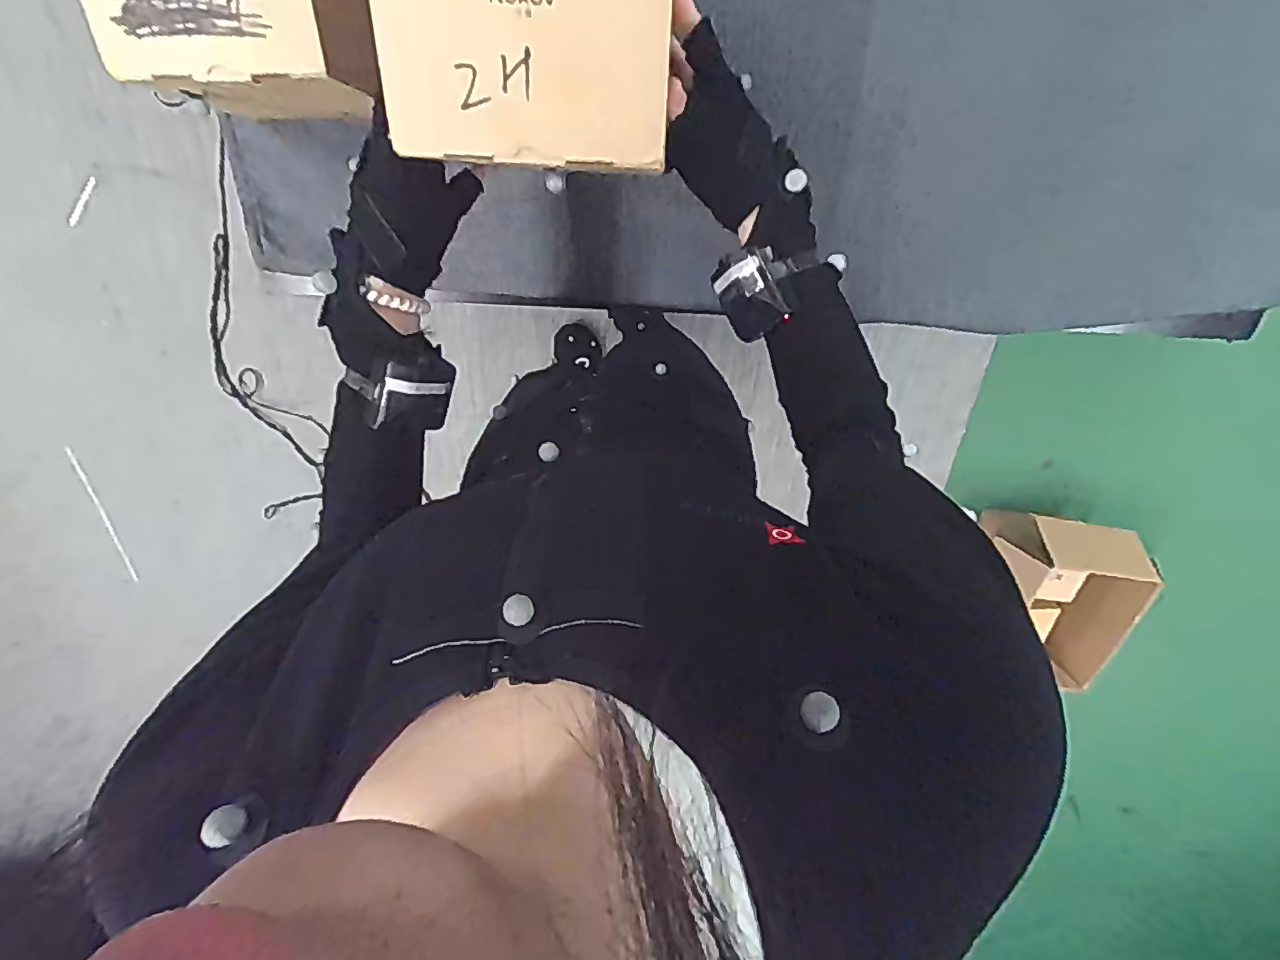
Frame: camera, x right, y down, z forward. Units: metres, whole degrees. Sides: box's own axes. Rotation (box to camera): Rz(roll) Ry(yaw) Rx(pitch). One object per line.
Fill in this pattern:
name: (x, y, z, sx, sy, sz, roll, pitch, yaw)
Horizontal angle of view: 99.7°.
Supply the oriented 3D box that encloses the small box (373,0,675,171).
small box: (-0.062, -0.312, 0.356, 0.168, 0.176, 0.179, 3, 118, -1)
